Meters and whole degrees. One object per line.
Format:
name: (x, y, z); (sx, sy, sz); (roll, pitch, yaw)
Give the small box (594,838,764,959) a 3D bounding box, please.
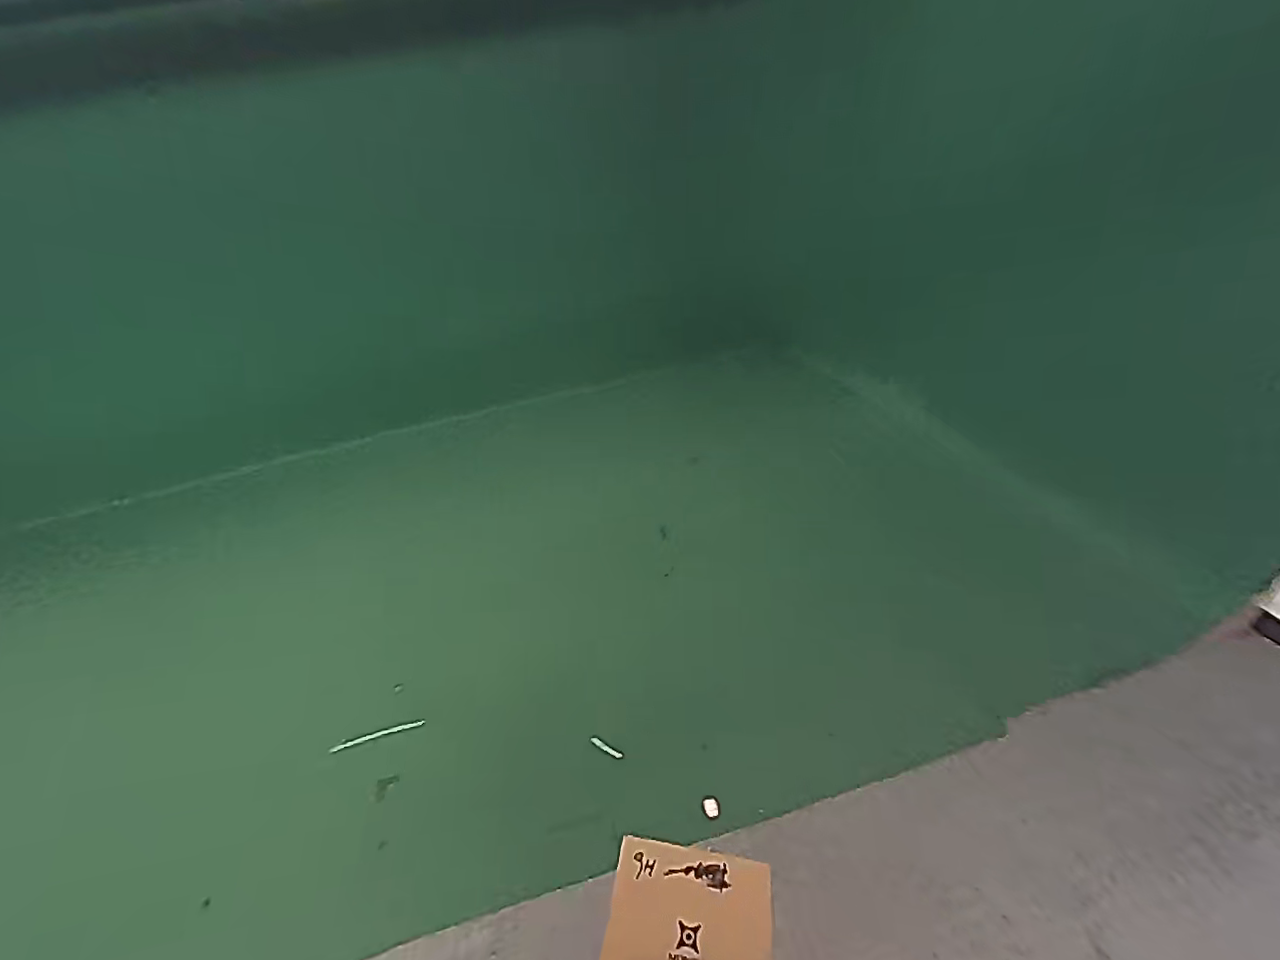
small box: (0.041, 0.524, 0.578); (0.168, 0.176, 0.179); (5, 38, 8)
